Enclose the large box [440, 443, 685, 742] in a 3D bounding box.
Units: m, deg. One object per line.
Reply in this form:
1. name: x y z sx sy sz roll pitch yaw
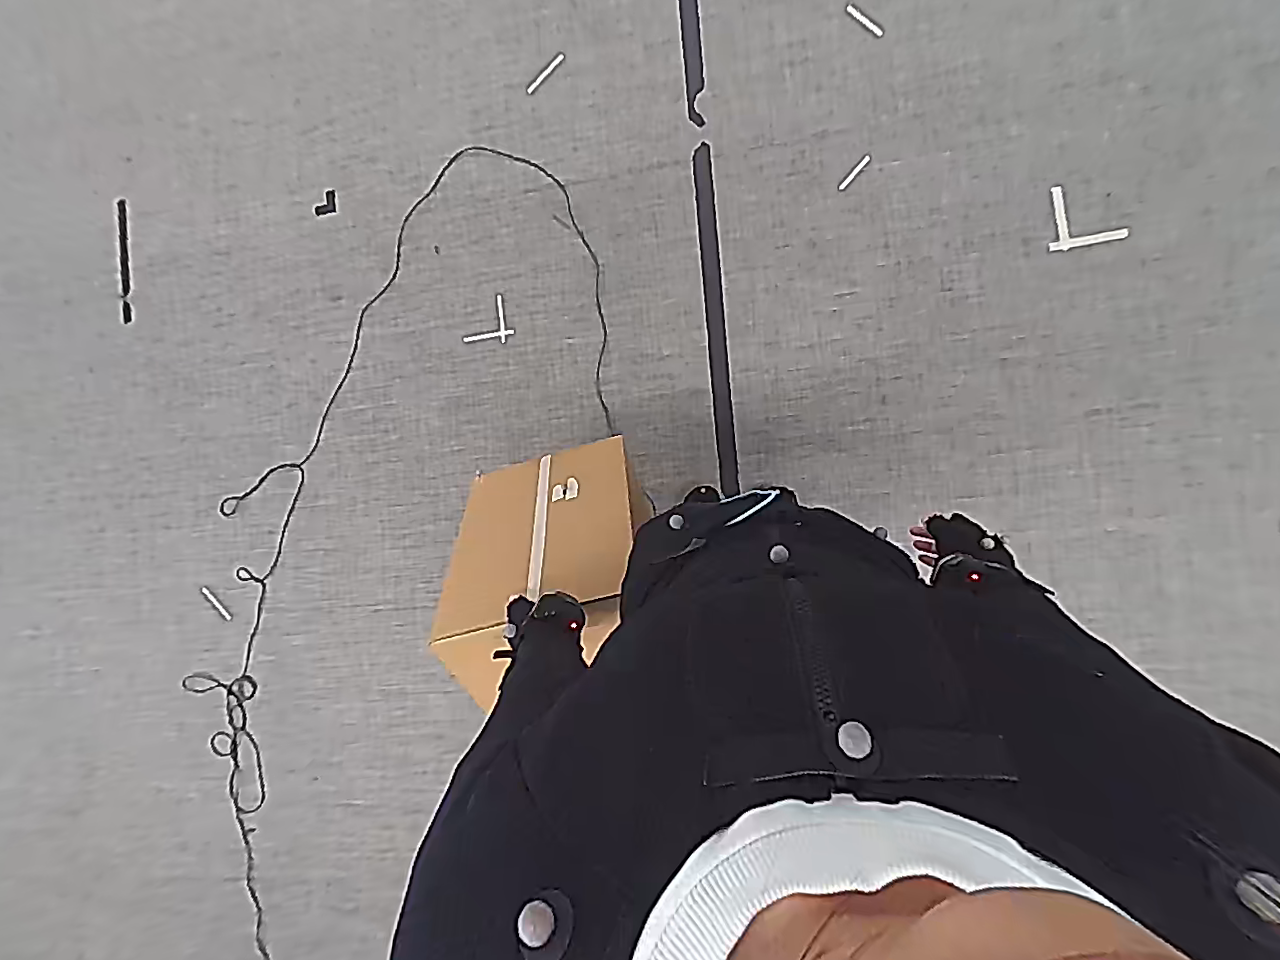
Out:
1. large box: -0.122 0.195 1.007 0.320 0.408 0.320 -14 125 5
